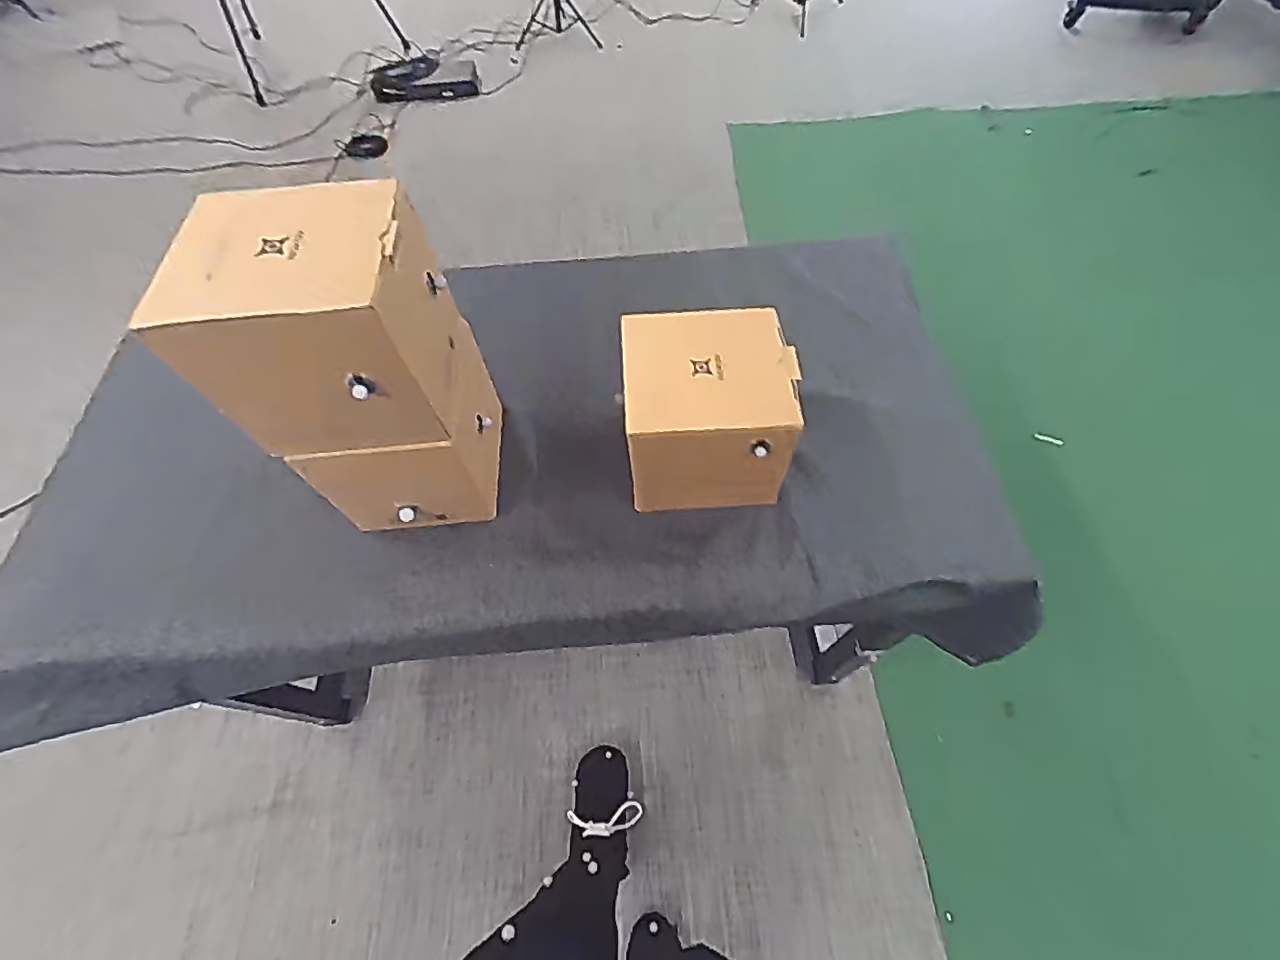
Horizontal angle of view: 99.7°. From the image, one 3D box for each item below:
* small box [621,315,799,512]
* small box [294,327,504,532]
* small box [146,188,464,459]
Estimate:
[{"bbox_3d":[0.072,-0.072,0.643,0.179,0.176,0.168,-3,59,0],"label":"small box"},{"bbox_3d":[-0.265,-0.055,0.642,0.168,0.176,0.179,-5,60,-1],"label":"small box"},{"bbox_3d":[-0.277,-0.136,0.502,0.179,0.176,0.168,-7,58,0],"label":"small box"}]
